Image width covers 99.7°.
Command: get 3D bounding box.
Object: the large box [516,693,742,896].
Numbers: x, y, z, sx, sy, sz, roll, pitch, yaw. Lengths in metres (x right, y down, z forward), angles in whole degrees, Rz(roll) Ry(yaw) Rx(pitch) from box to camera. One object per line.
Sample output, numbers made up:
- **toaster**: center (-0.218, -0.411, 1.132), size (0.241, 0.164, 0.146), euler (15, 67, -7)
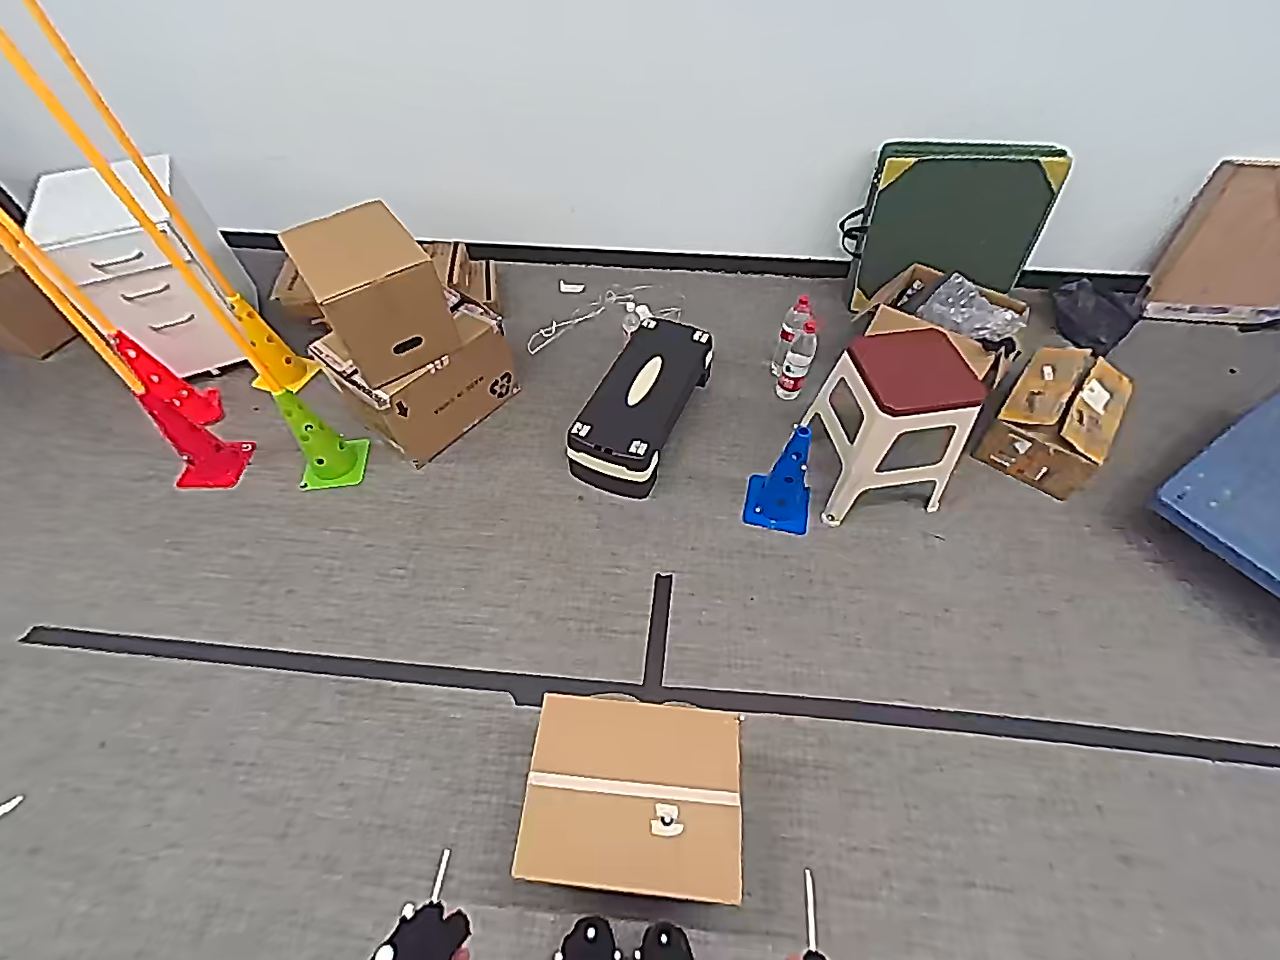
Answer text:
- **large box**: center (-0.014, 0.667, 1.146), size (0.408, 0.320, 0.320), euler (5, 55, 2)
